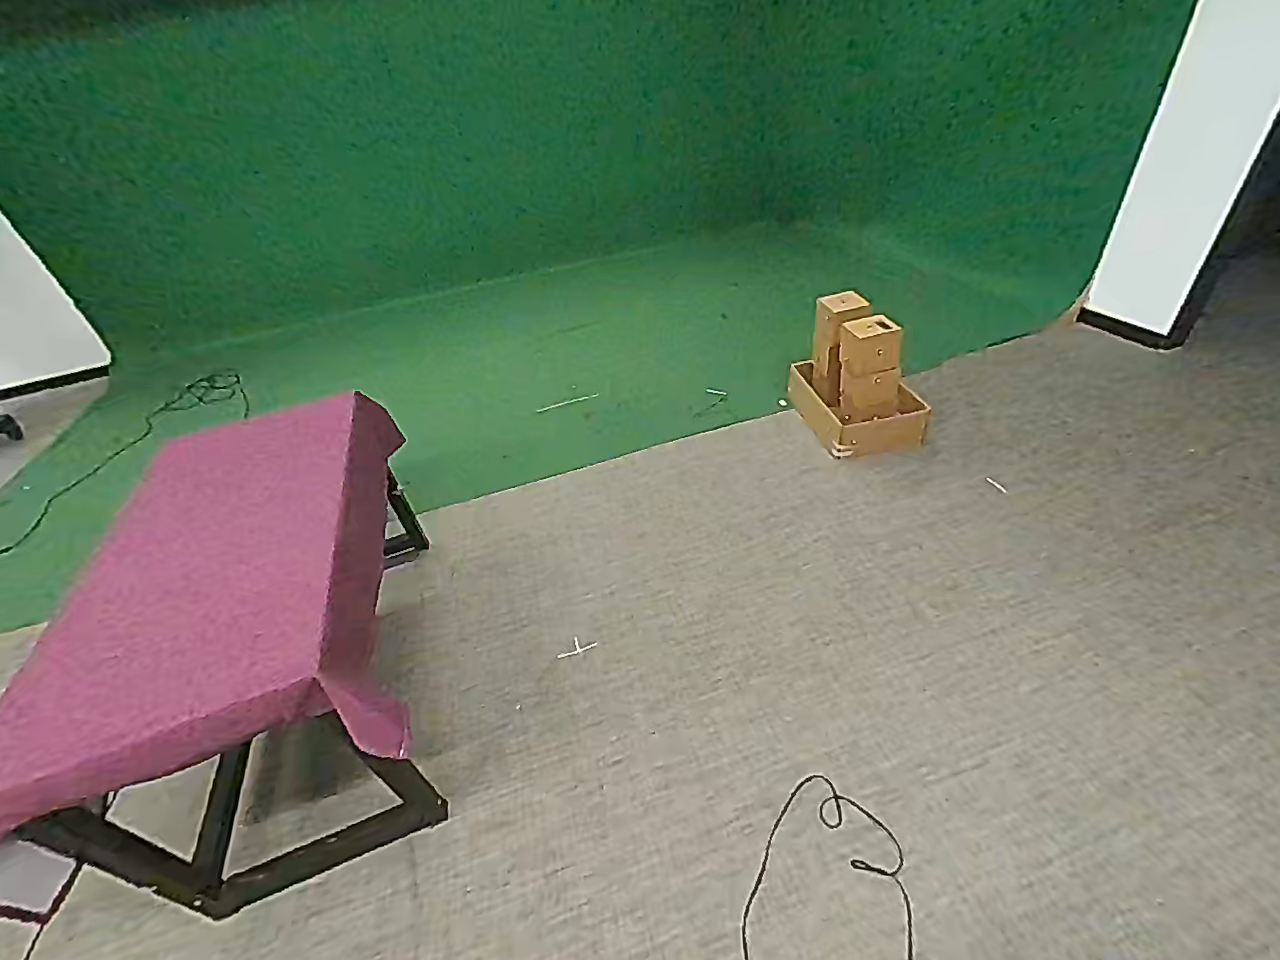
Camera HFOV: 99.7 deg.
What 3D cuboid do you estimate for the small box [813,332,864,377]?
[{"bbox_3d":[0.937,-0.613,2.571,0.179,0.176,0.168,-13,39,-2],"label":"small box"}]

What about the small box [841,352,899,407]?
[{"bbox_3d":[0.982,-0.430,2.329,0.179,0.176,0.168,-12,38,-3],"label":"small box"}]

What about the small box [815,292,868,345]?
[{"bbox_3d":[0.912,-0.729,2.456,0.168,0.176,0.179,-13,39,-3],"label":"small box"}]
